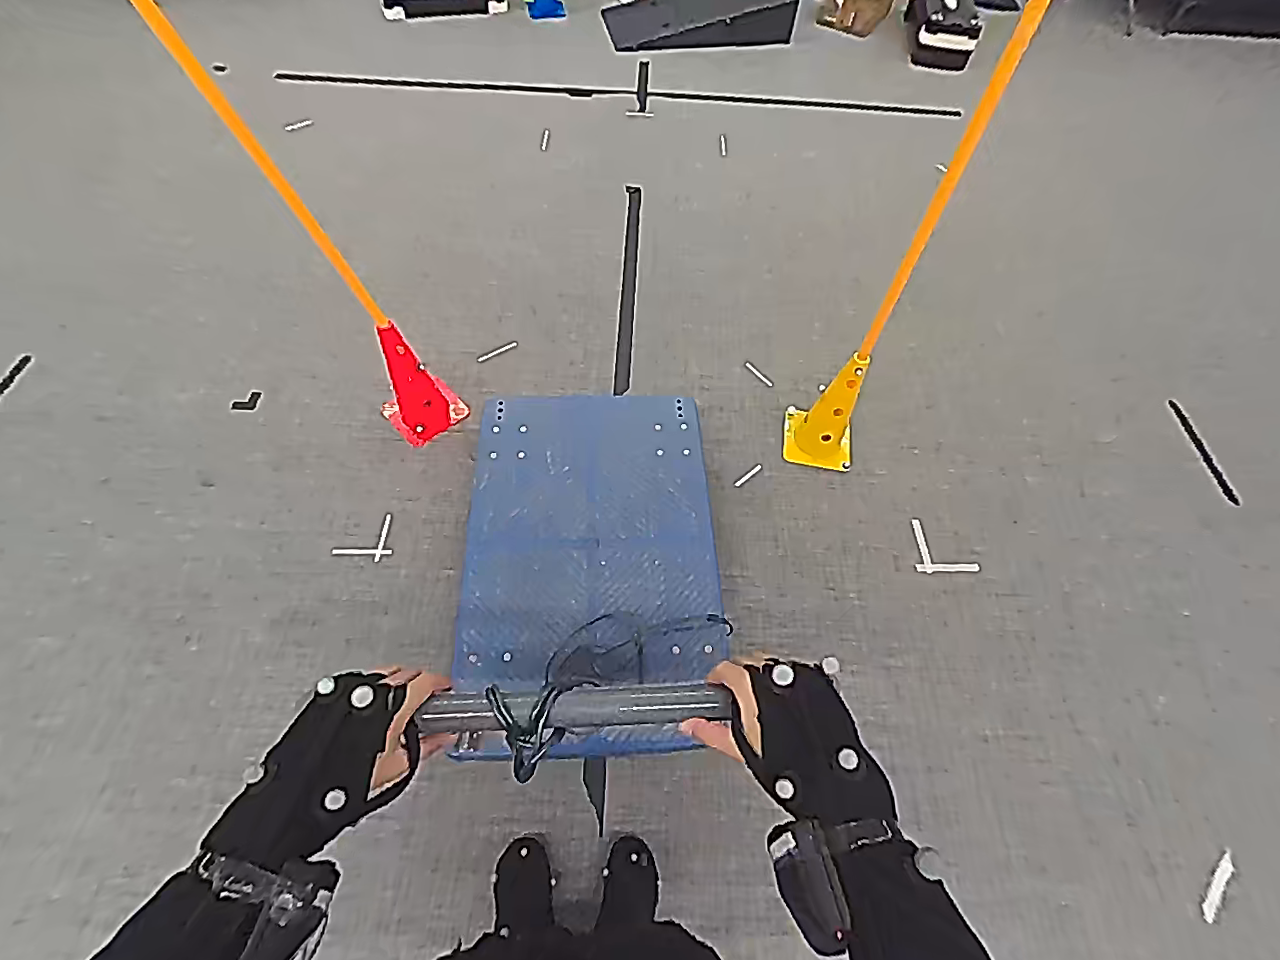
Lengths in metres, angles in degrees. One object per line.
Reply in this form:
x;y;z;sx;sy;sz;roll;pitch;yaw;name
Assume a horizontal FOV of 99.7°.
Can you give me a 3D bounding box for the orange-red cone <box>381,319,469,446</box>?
-0.632;-0.294;1.483;0.199;0.360;0.198;-38;69;-23;orange-red cone
